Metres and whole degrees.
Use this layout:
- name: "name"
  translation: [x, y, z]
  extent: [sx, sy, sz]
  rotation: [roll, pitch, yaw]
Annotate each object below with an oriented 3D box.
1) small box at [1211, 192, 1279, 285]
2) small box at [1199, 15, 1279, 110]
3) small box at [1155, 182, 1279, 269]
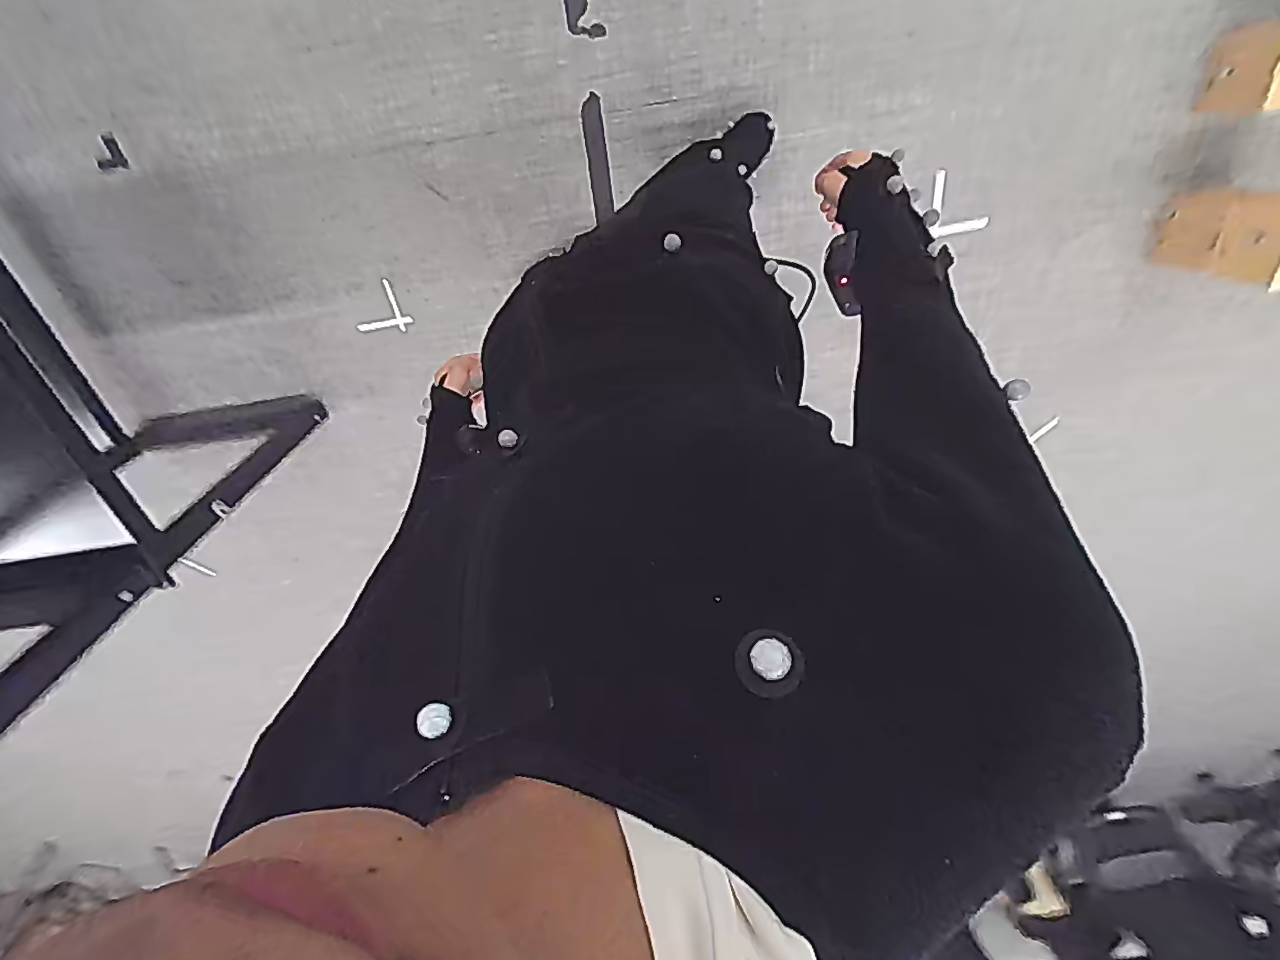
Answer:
- name: "small box"
  translation: [1.502, -0.564, 1.246]
  extent: [0.179, 0.176, 0.168]
  rotation: [-11, 122, 2]
- name: "small box"
  translation: [1.433, -0.934, 1.200]
  extent: [0.179, 0.176, 0.168]
  rotation: [-8, 122, 2]
- name: "small box"
  translation: [1.491, -0.653, 1.381]
  extent: [0.179, 0.176, 0.168]
  rotation: [-11, 122, 2]
